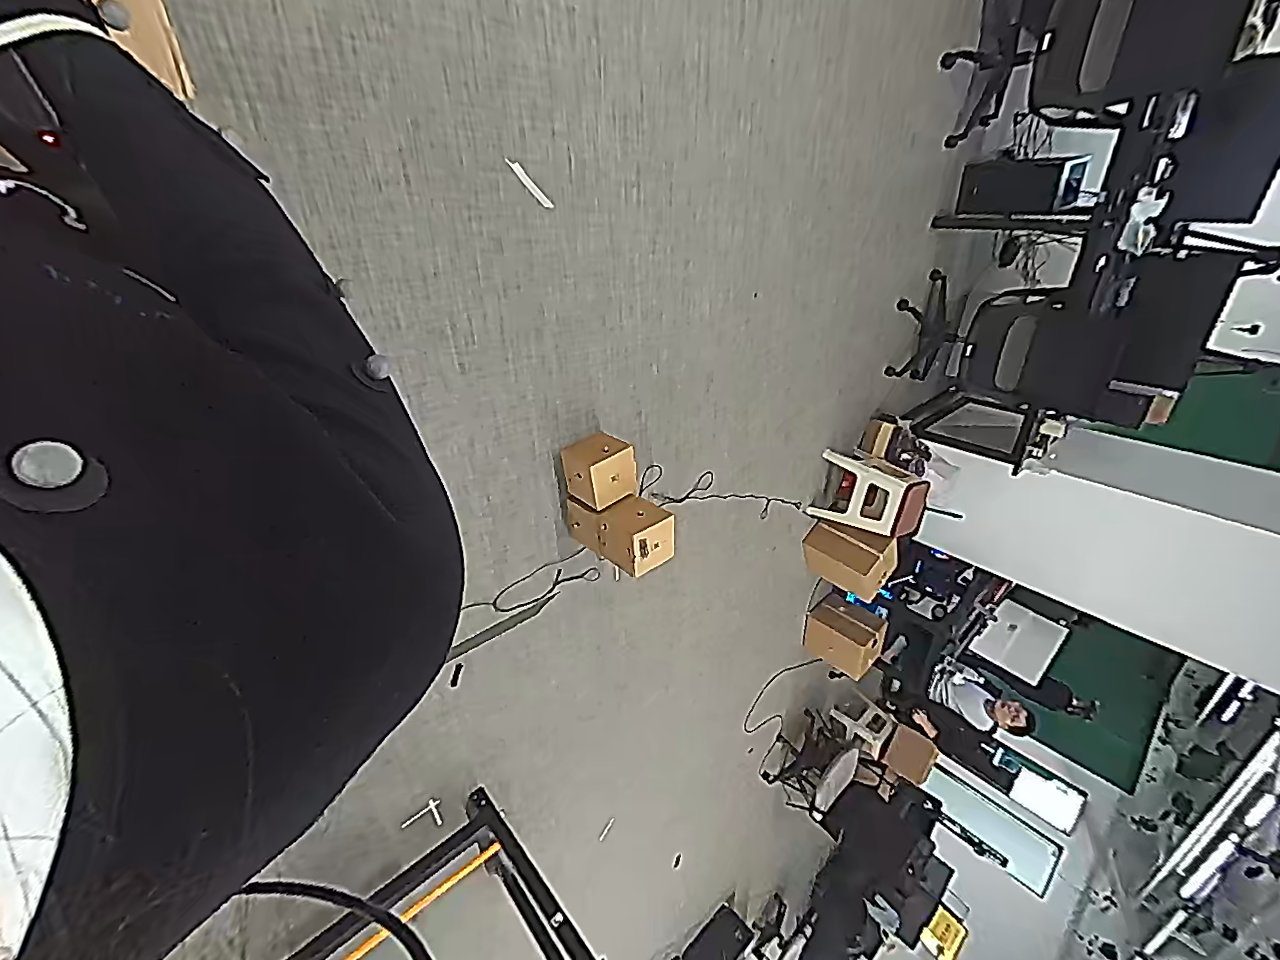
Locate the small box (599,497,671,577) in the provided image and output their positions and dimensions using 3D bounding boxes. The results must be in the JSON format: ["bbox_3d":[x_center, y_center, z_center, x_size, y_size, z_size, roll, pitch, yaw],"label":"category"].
[{"bbox_3d":[-0.020,0.177,1.737,0.179,0.176,0.168,-24,126,-36],"label":"small box"}]
